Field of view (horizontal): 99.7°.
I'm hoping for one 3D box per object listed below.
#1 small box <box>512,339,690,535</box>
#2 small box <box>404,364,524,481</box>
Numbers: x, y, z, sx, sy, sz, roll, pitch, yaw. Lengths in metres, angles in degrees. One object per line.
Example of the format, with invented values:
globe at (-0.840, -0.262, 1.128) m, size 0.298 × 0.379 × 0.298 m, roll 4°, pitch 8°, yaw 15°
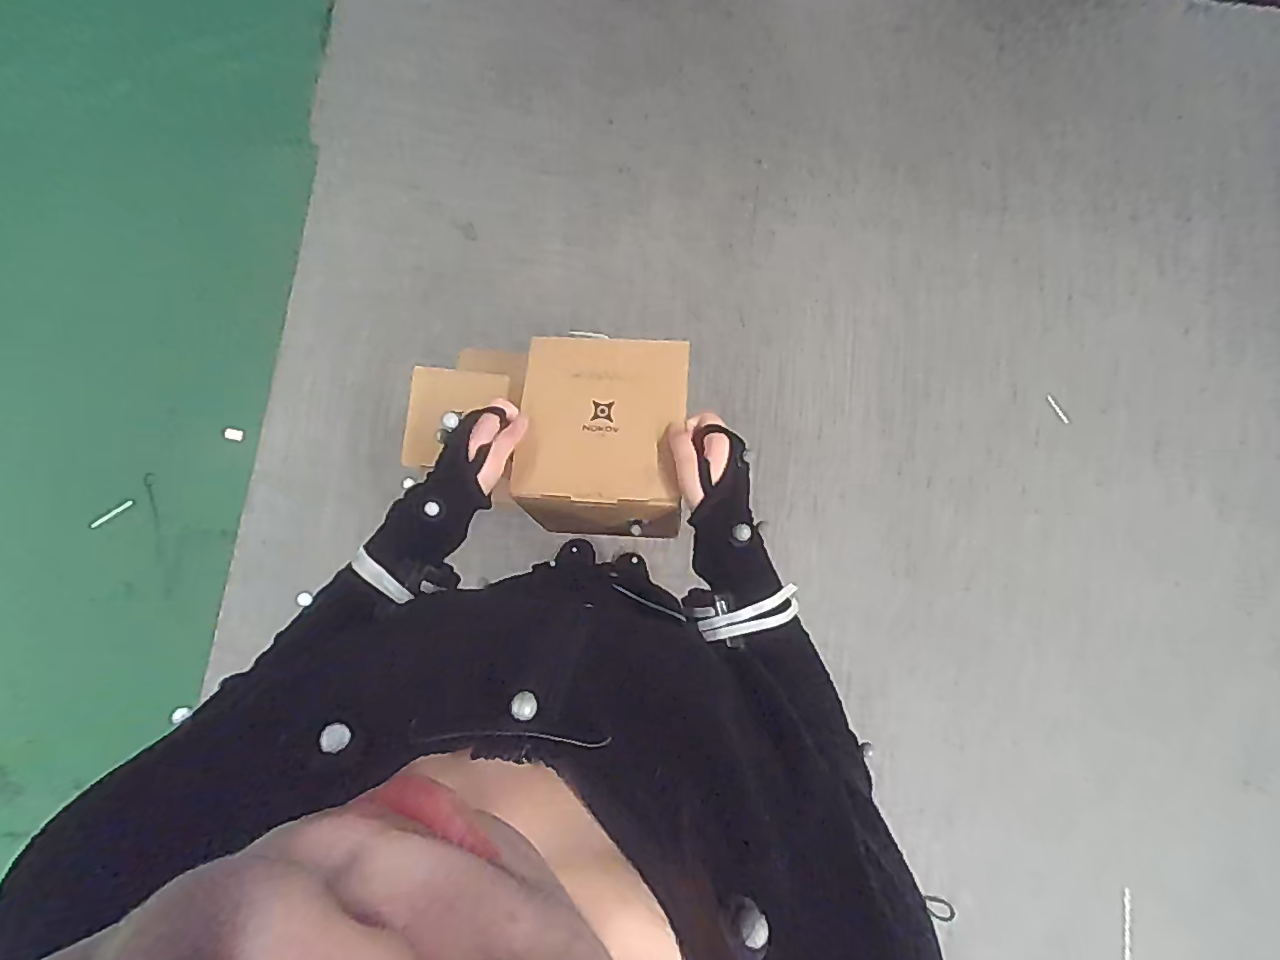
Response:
small box at (-0.031, -0.038, 0.609) m, size 0.168 × 0.176 × 0.179 m, roll 3°, pitch 74°, yaw 4°
small box at (-0.313, -0.098, 1.000) m, size 0.168 × 0.176 × 0.179 m, roll 6°, pitch 86°, yaw -2°
